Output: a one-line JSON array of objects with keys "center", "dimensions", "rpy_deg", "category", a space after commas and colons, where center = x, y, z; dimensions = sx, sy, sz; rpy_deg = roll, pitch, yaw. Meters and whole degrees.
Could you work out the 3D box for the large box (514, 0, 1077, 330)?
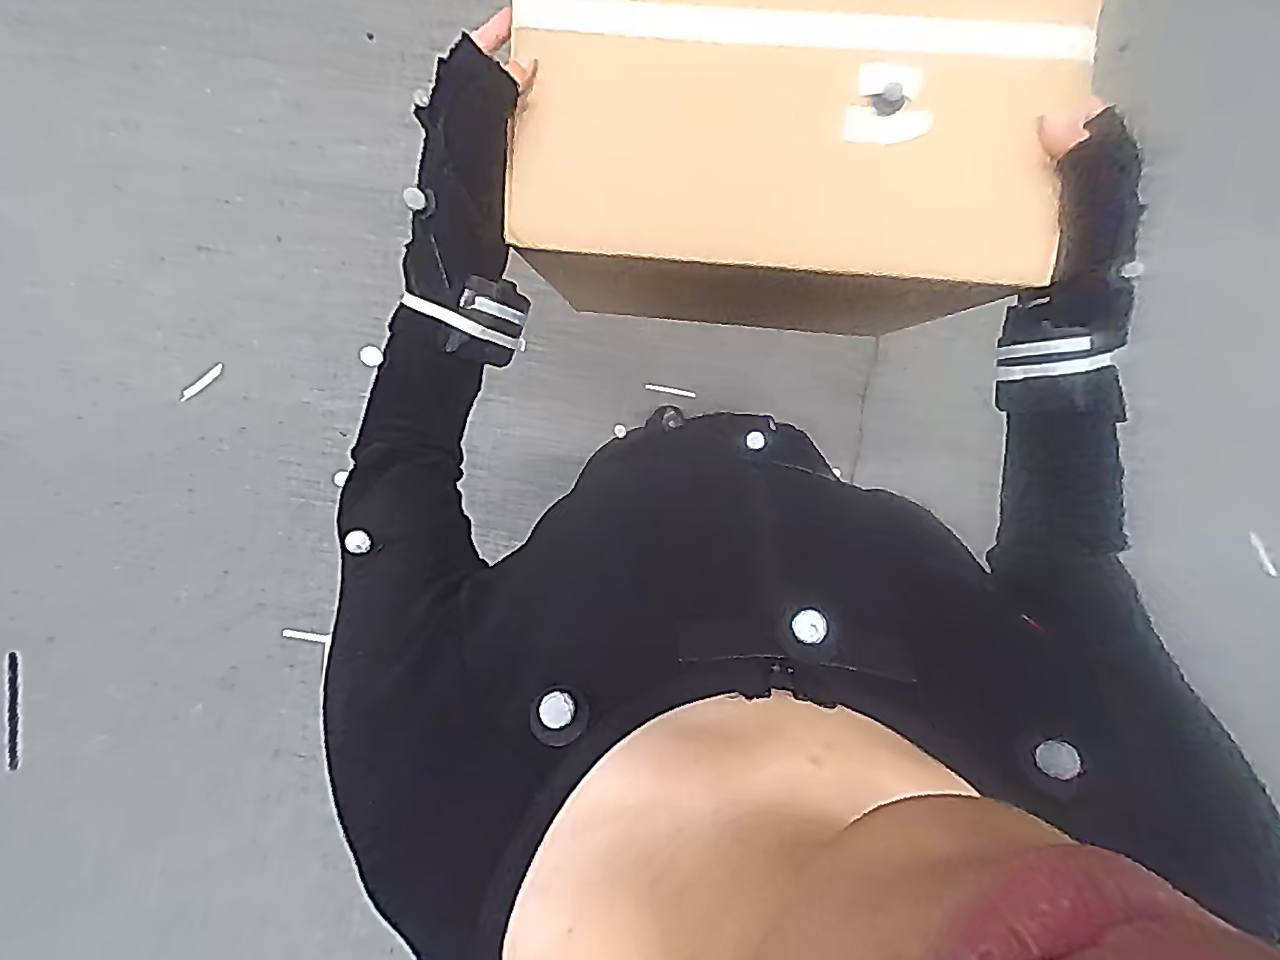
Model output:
[{"center": [0.112, -0.339, 0.540], "dimensions": [0.408, 0.320, 0.320], "rpy_deg": [5, 98, 1], "category": "large box"}]
